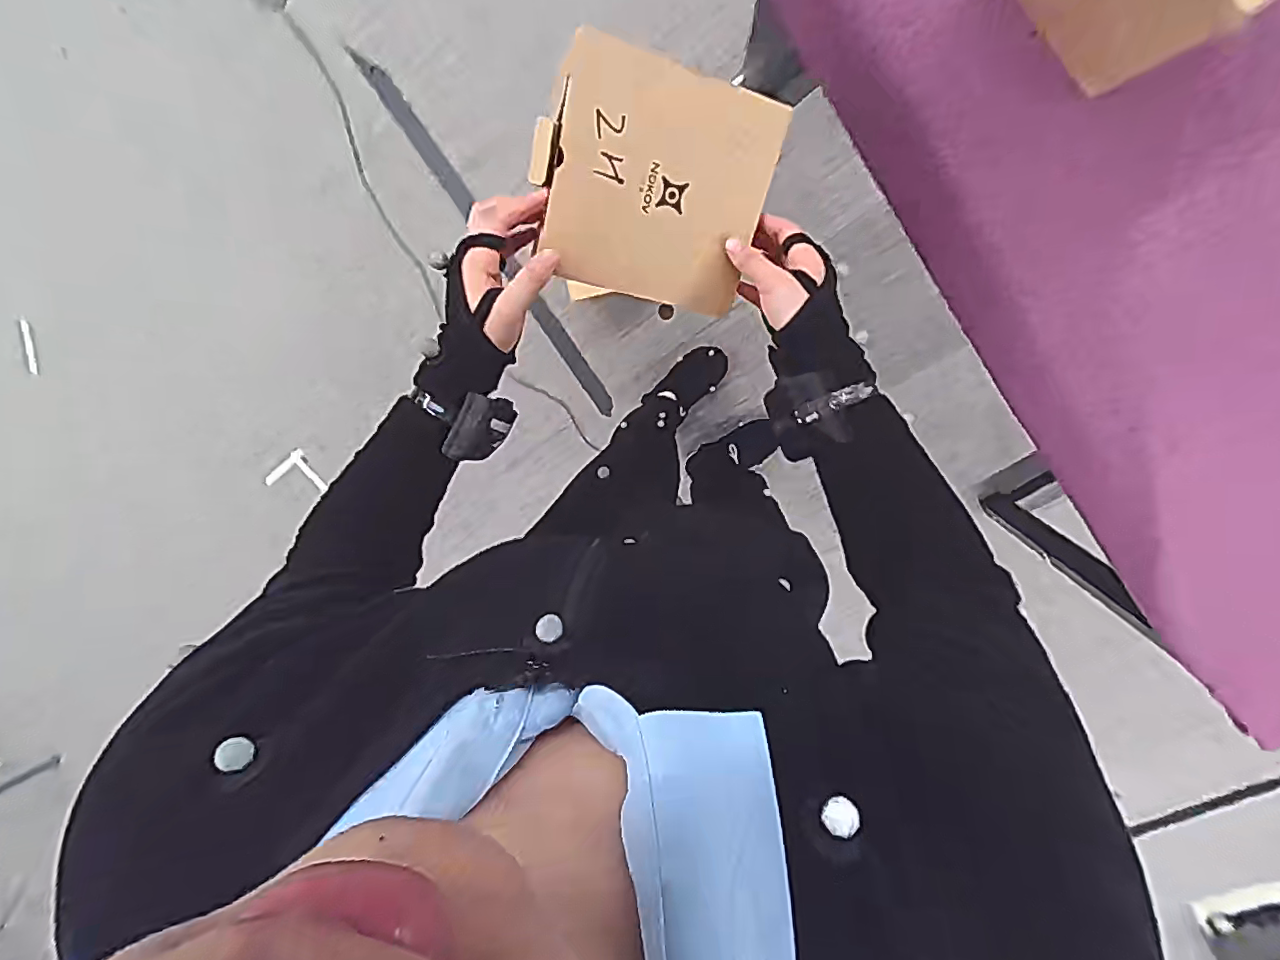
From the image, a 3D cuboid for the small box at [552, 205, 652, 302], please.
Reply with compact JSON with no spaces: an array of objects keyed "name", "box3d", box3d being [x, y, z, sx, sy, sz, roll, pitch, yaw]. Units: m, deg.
[{"name":"small box","box3d":[-0.079,-0.509,1.238,0.179,0.176,0.168,-11,108,10]}]
